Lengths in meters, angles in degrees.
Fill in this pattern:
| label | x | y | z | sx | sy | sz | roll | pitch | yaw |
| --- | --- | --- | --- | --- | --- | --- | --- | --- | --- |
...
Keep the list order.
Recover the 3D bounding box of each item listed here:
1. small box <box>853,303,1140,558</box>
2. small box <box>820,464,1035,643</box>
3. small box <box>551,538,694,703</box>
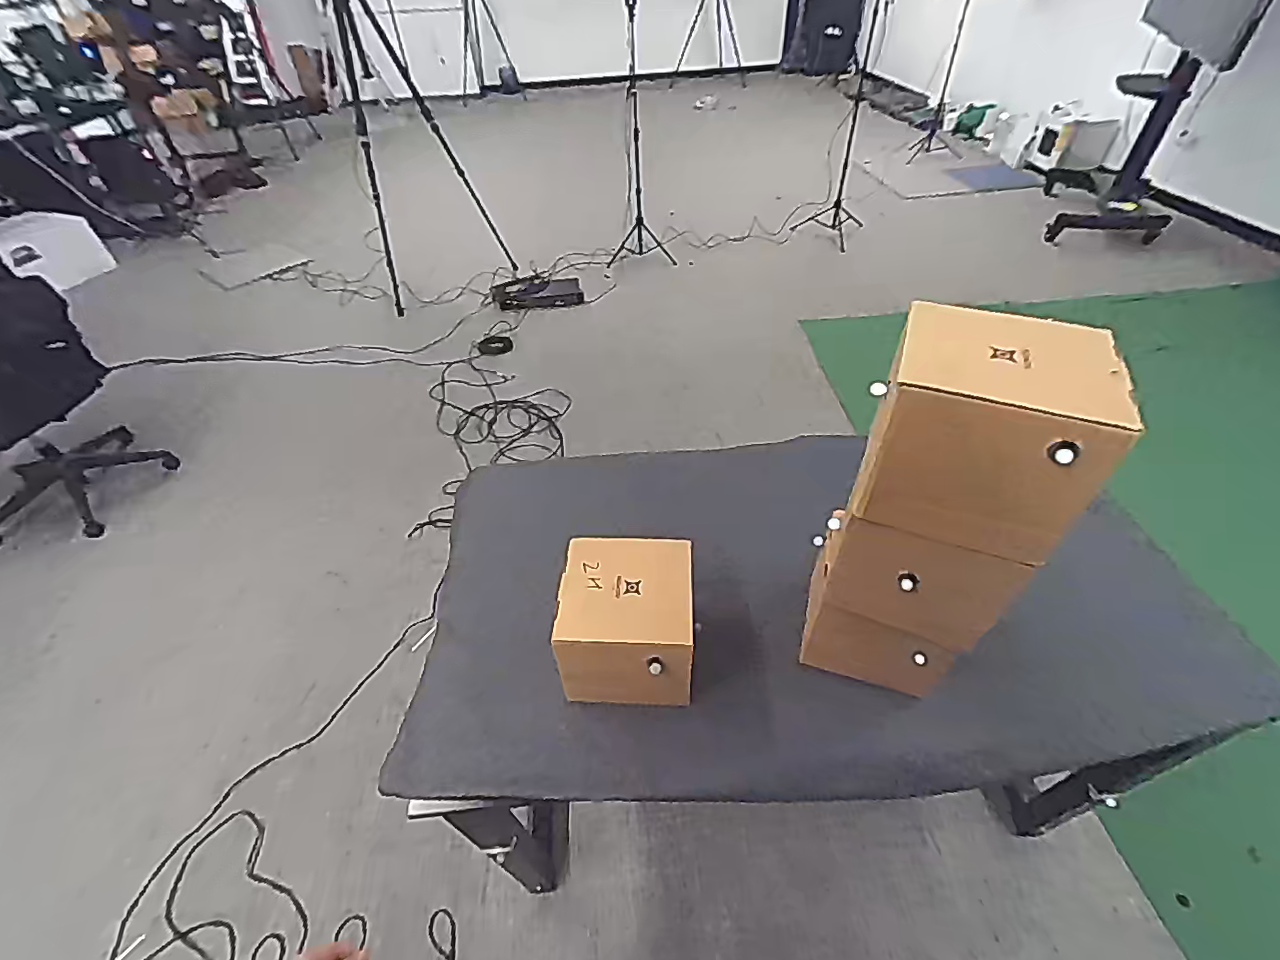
| label | x | y | z | sx | sy | sz | roll | pitch | yaw |
| --- | --- | --- | --- | --- | --- | --- | --- | --- | --- |
| small box | 0.323 | -0.049 | 0.529 | 0.179 | 0.176 | 0.168 | 16 | 47 | 18 |
| small box | 0.333 | 0.067 | 0.643 | 0.179 | 0.176 | 0.168 | 17 | 48 | 20 |
| small box | -0.015 | 0.200 | 0.765 | 0.179 | 0.176 | 0.168 | 0 | 44 | 4 |
